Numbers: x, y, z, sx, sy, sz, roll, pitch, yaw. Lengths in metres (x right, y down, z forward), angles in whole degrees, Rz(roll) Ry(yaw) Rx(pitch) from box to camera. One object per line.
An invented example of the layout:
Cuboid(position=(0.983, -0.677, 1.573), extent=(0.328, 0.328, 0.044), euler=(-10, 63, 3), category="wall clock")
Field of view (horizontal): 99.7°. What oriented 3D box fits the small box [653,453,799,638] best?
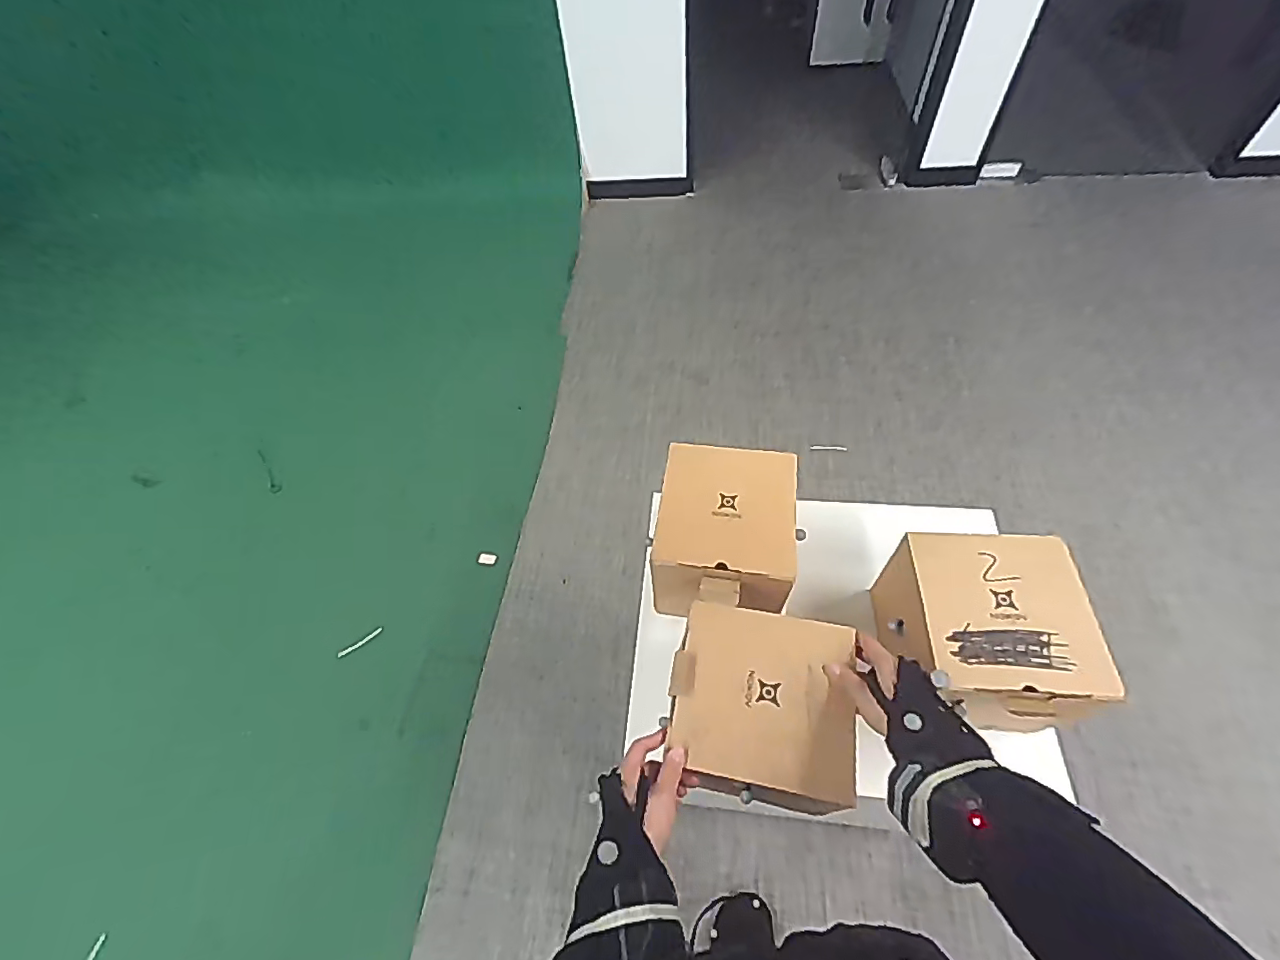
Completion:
Cuboid(position=(0.112, 0.089, 0.718), extent=(0.168, 0.176, 0.179), euler=(6, 57, 8), category="small box")
